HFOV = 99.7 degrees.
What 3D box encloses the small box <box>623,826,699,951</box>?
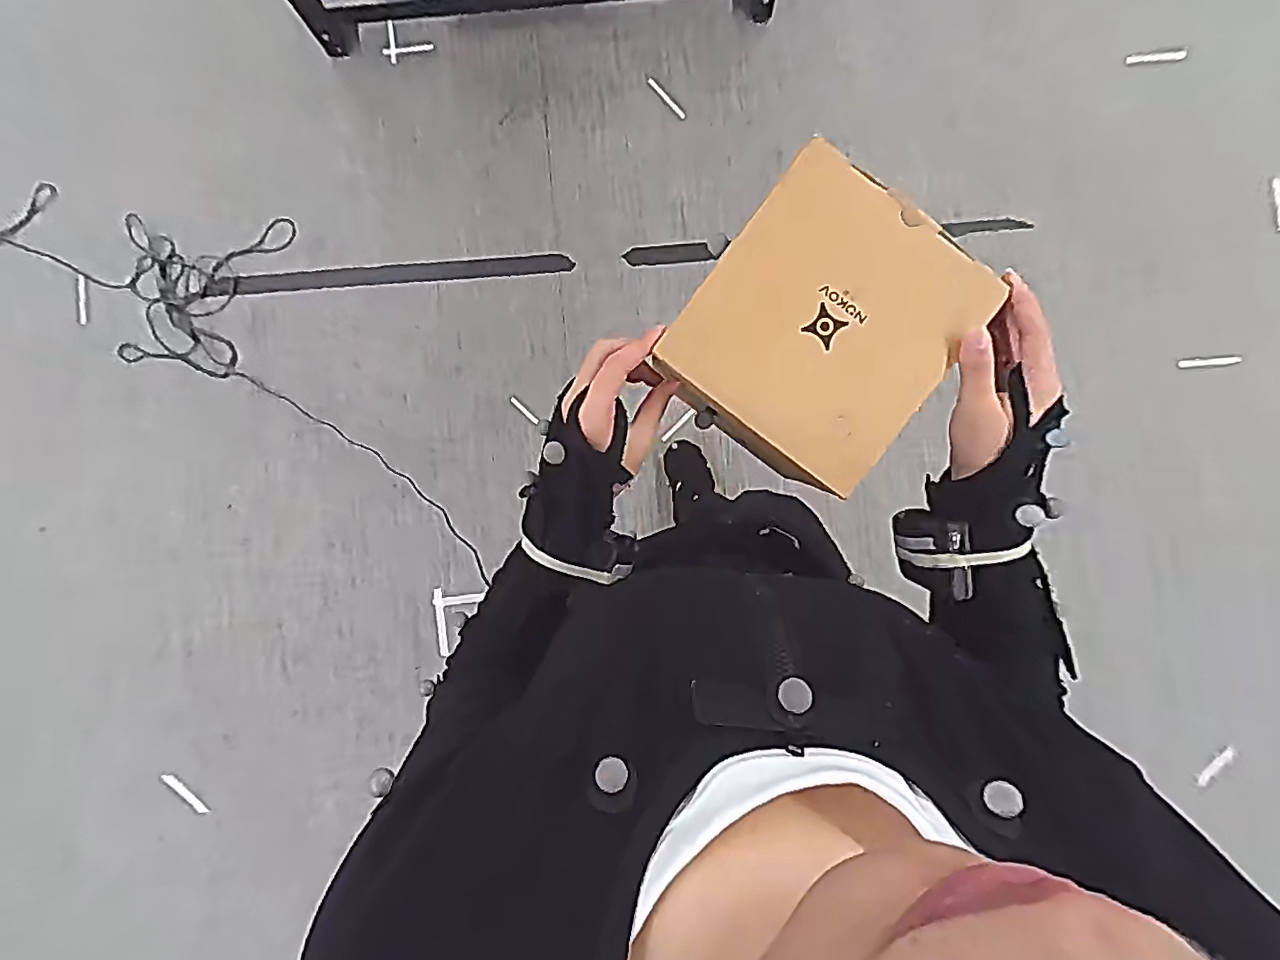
[{"bbox_3d":[0.048,0.963,1.290,0.168,0.176,0.179,3,89,1],"label":"small box"}]
